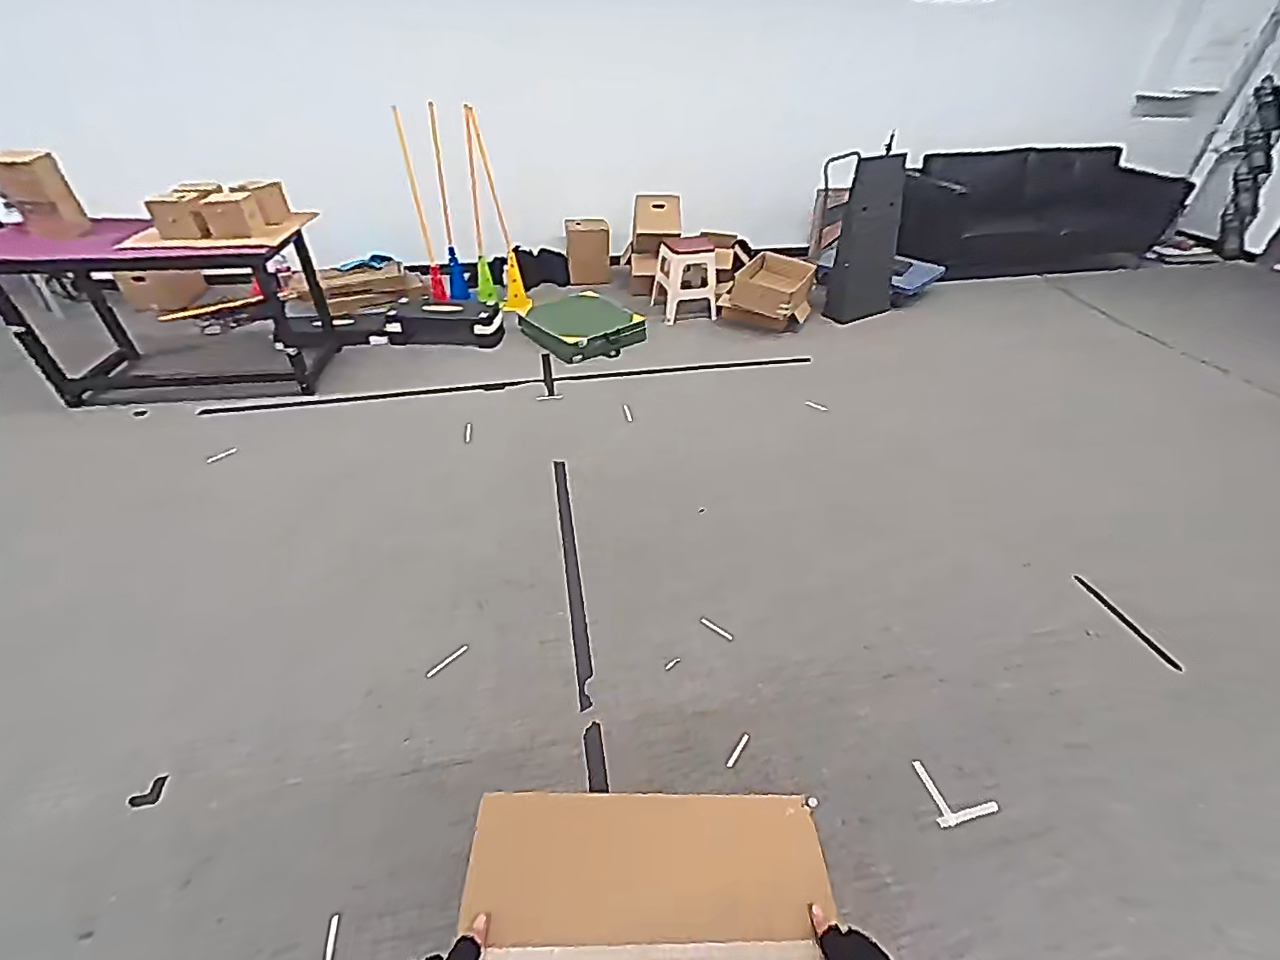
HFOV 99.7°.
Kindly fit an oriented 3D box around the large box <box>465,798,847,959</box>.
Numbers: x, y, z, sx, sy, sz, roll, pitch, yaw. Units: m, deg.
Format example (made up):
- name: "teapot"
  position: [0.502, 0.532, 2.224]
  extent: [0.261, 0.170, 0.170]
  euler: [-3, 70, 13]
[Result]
- name: "large box"
  position: [0.004, 0.609, 0.639]
  extent: [0.408, 0.320, 0.320]
  euler: [4, 37, -5]
